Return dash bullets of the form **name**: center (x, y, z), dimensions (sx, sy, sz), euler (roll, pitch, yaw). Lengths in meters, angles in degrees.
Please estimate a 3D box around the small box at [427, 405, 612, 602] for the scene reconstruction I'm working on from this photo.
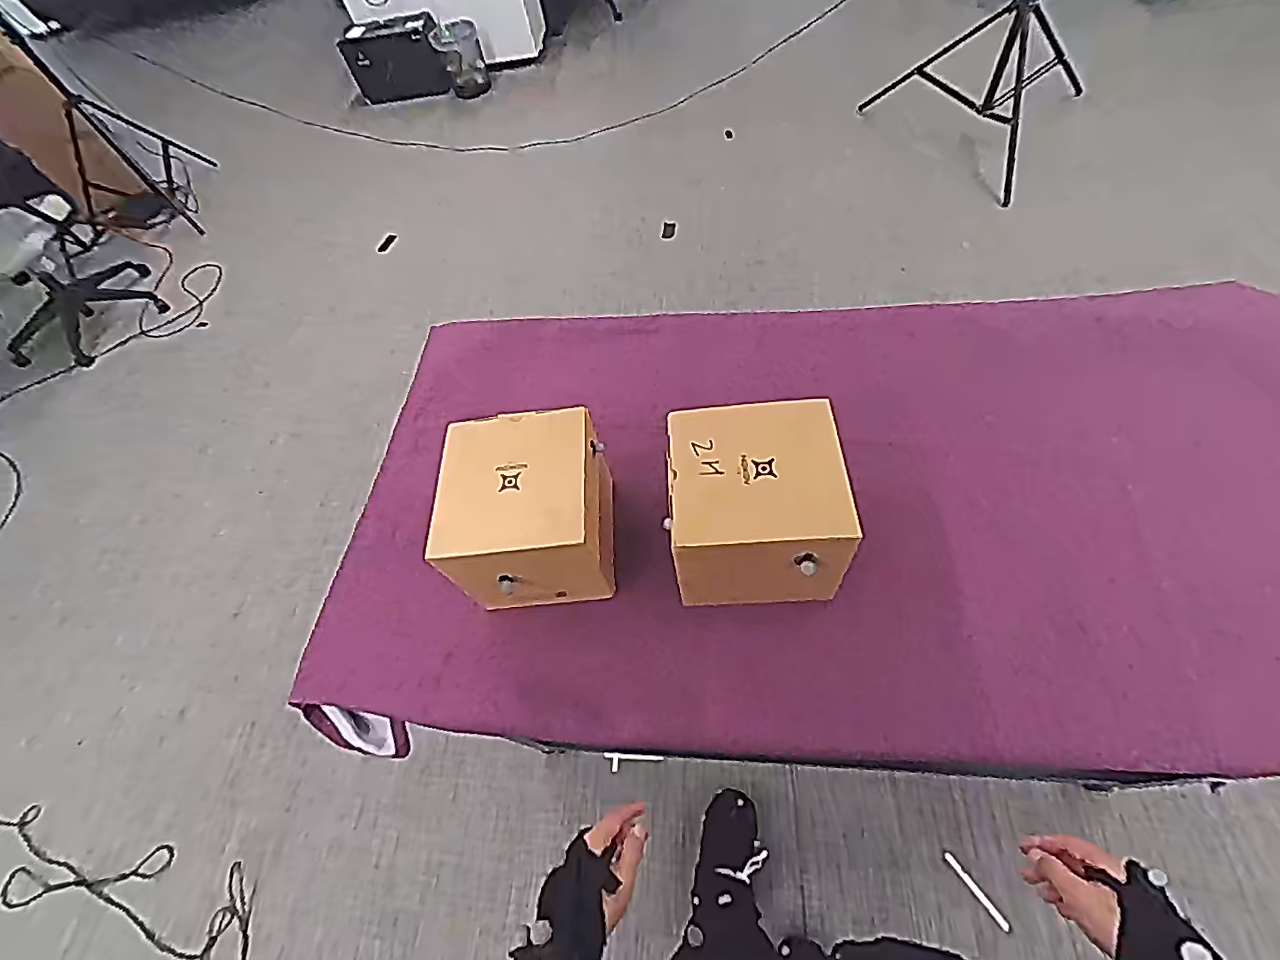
- **small box**: center (-0.128, 0.038, 0.649), dimensions (0.168, 0.176, 0.179), euler (-7, 57, 5)

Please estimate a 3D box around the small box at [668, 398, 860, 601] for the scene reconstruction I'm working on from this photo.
- **small box**: center (0.125, 0.029, 0.610), dimensions (0.179, 0.176, 0.168), euler (-4, 57, 6)
